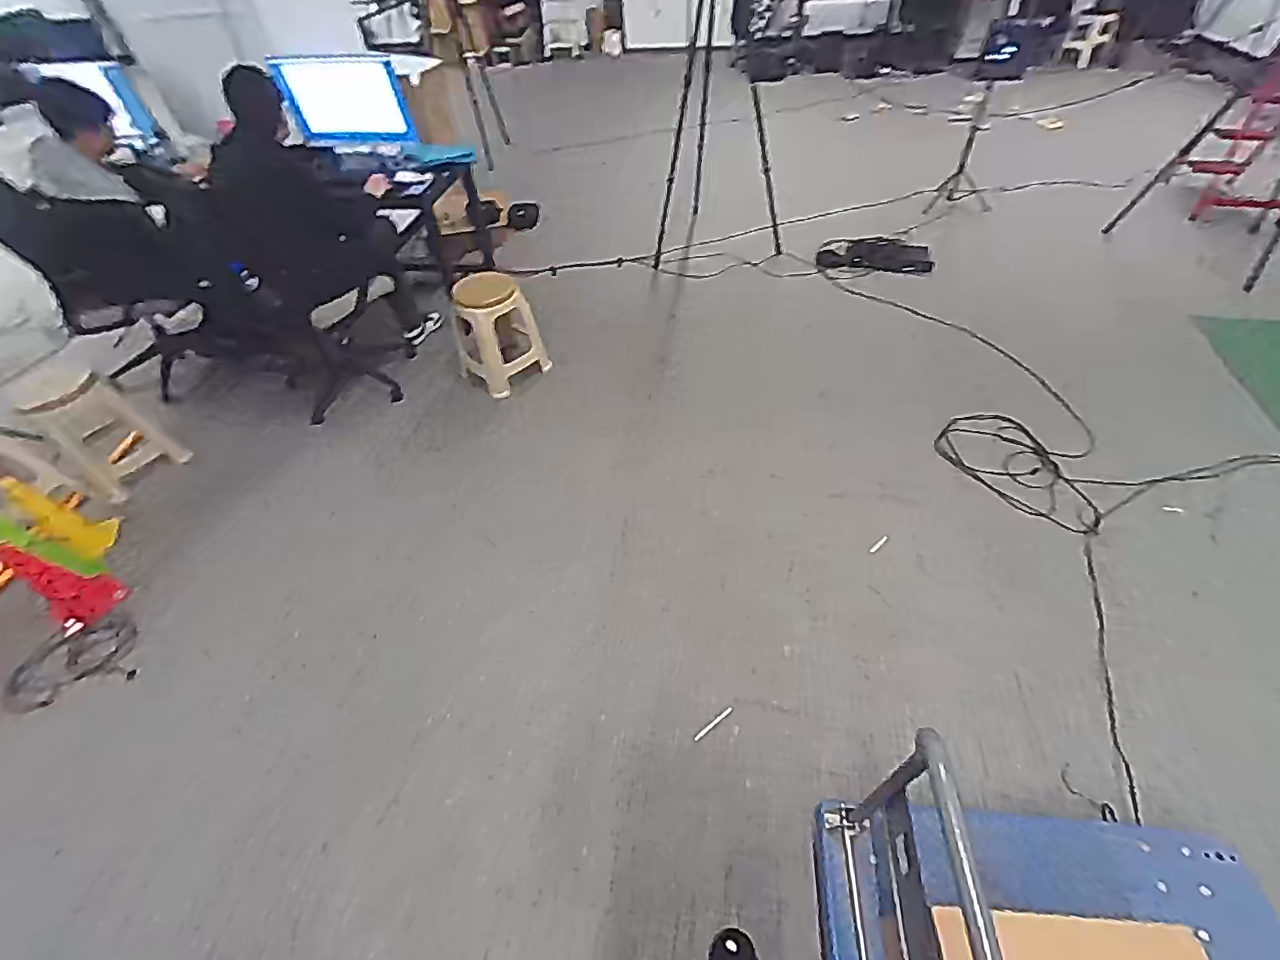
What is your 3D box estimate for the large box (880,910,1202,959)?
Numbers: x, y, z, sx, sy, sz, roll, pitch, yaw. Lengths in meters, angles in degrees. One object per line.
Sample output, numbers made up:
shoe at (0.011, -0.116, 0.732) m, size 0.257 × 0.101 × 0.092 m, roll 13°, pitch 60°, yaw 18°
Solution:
large box at (0.669, 0.924, 0.879) m, size 0.408 × 0.320 × 0.320 m, roll 1°, pitch 48°, yaw 4°
